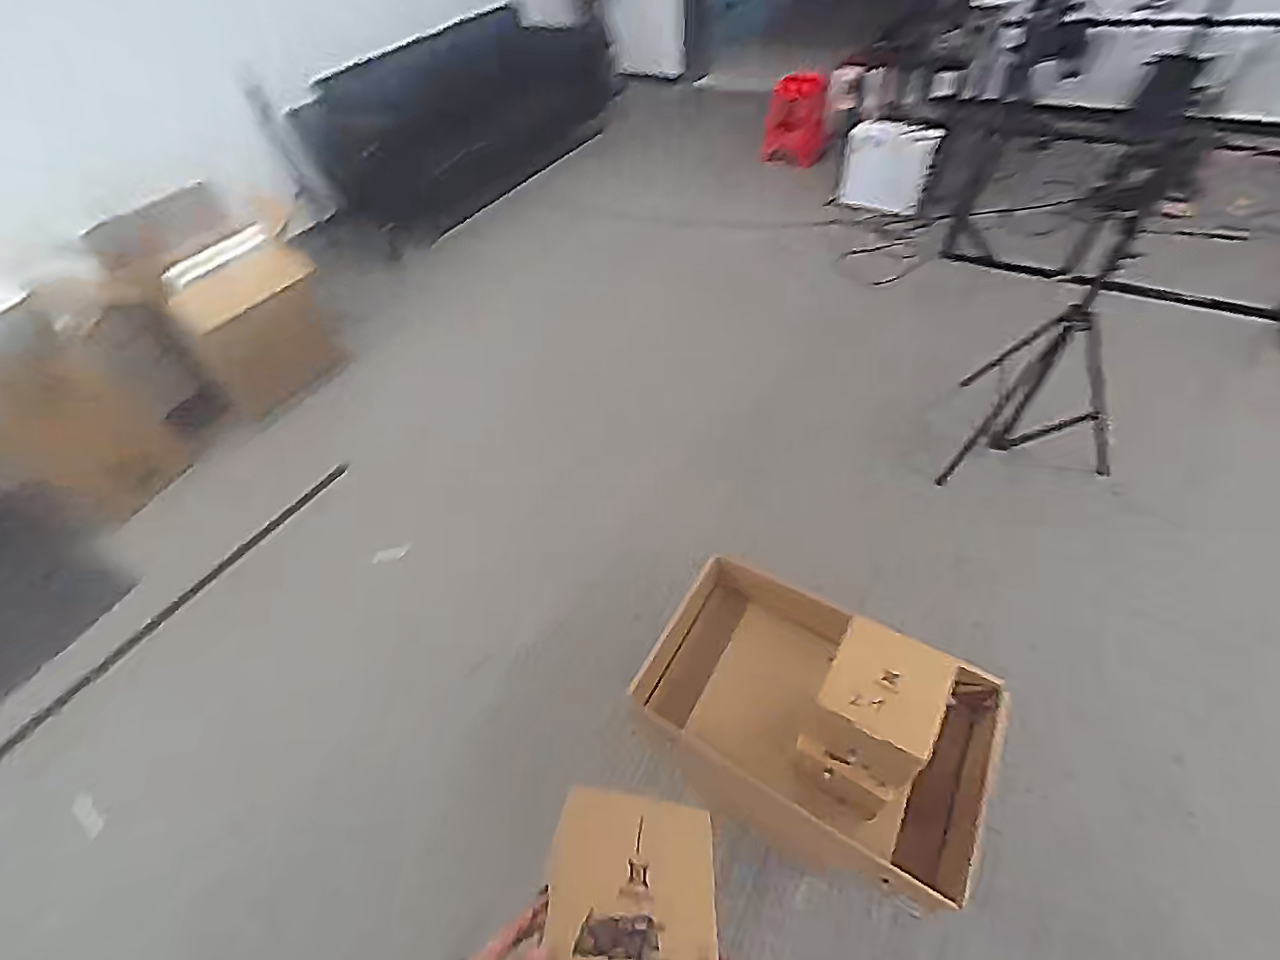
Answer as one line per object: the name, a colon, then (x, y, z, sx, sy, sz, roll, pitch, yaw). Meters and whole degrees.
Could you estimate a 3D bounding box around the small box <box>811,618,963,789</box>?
small box: (0.398, 0.369, 0.895, 0.168, 0.176, 0.179, 24, 57, 27)

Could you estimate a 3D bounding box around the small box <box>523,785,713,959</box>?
small box: (-0.027, 0.467, 0.572, 0.168, 0.176, 0.179, 13, 28, -5)
